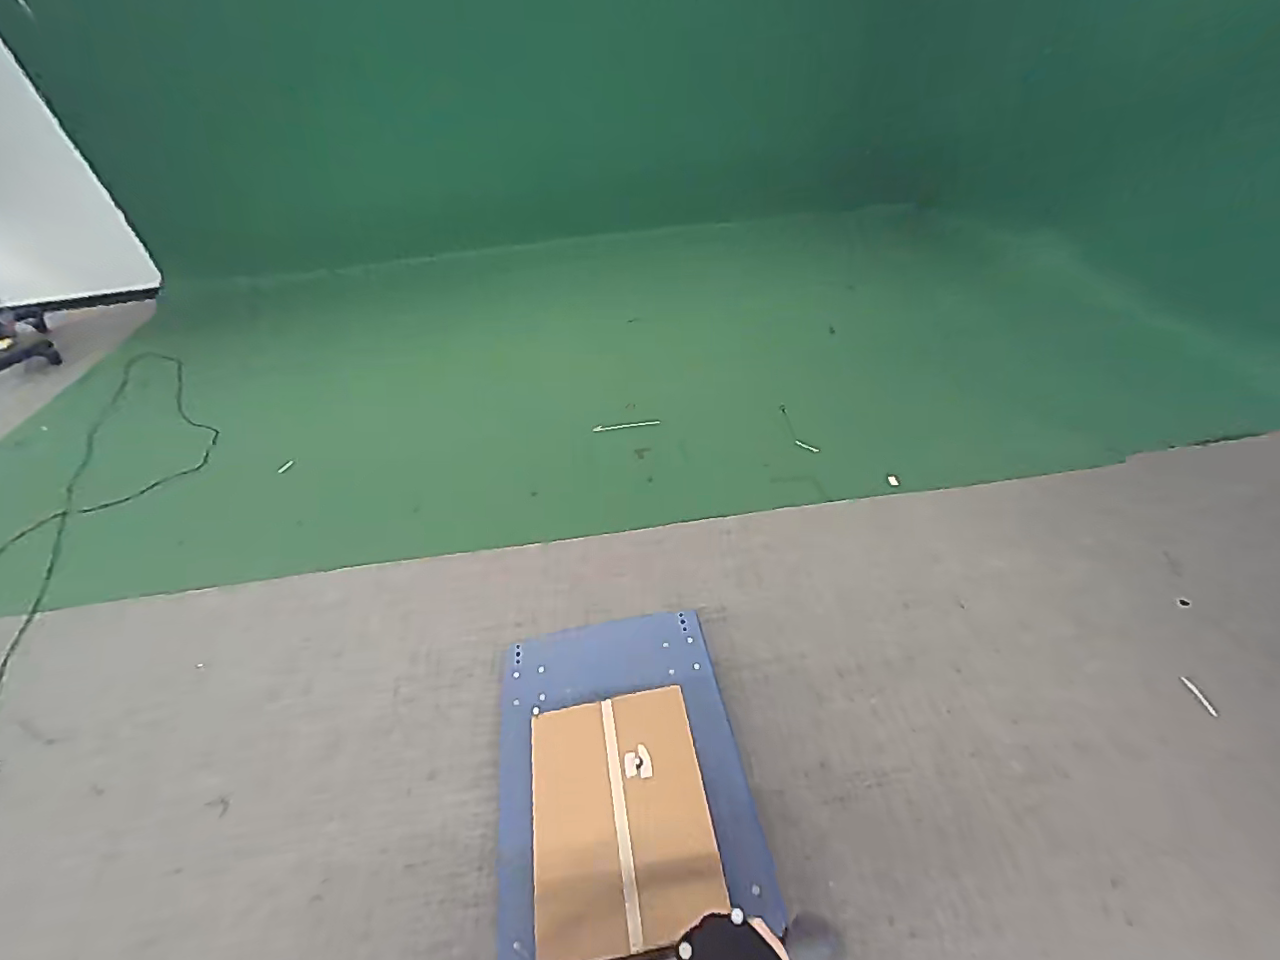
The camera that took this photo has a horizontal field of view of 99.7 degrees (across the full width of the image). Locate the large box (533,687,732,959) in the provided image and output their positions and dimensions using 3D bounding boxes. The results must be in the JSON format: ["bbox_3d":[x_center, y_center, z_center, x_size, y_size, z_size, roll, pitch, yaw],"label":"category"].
[{"bbox_3d":[-0.022,0.697,1.073,0.320,0.320,0.408,-10,42,-3],"label":"large box"}]
